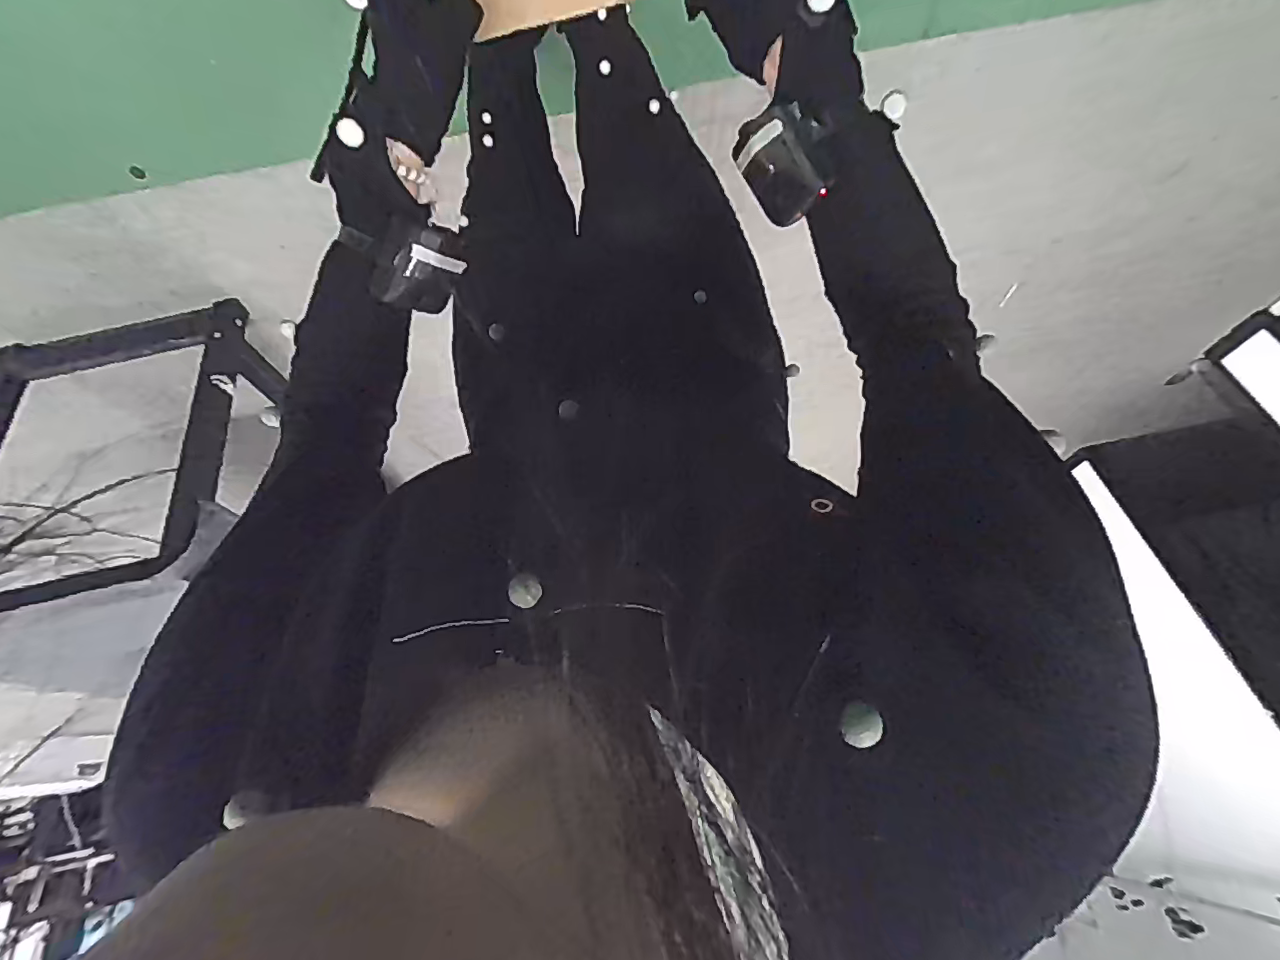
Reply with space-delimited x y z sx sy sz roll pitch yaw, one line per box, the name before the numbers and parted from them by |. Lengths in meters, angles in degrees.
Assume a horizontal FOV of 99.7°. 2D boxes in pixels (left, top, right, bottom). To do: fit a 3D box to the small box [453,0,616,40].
small box | -0.068 -0.421 0.316 0.168 0.176 0.179 -16 159 0
